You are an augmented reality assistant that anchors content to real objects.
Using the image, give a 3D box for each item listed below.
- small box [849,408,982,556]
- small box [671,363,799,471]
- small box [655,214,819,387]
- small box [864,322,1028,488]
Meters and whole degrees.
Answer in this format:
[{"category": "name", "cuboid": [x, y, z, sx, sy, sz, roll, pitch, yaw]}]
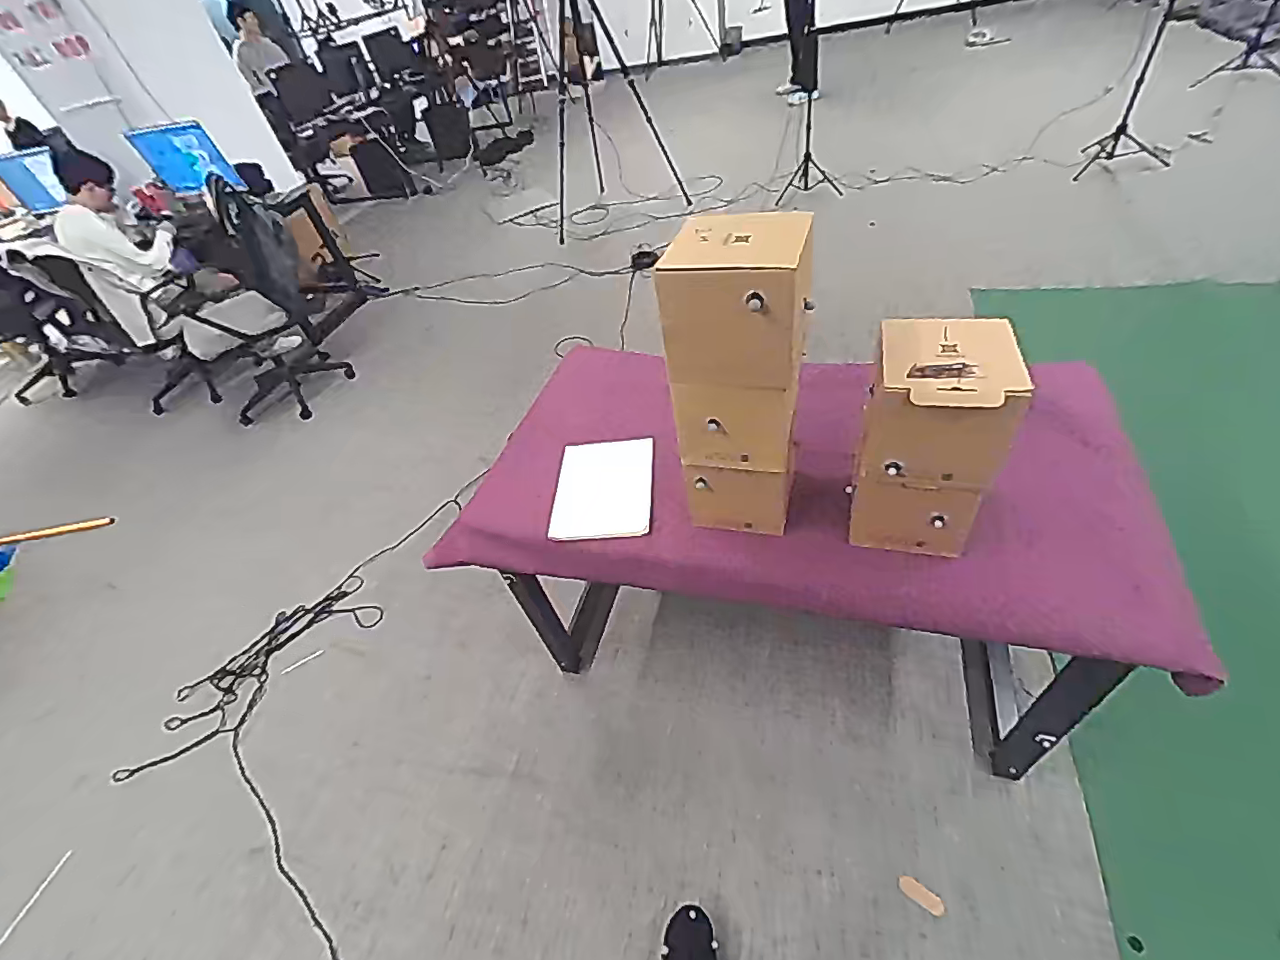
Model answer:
[{"category": "small box", "cuboid": [0.443, 0.003, 0.891, 0.168, 0.176, 0.179, 7, 47, 19]}, {"category": "small box", "cuboid": [0.159, -0.133, 0.859, 0.168, 0.176, 0.179, 6, 47, 19]}, {"category": "small box", "cuboid": [0.138, -0.243, 0.738, 0.179, 0.176, 0.168, 8, 47, 21]}, {"category": "small box", "cuboid": [0.420, -0.108, 0.773, 0.168, 0.176, 0.179, 6, 46, 18]}]
